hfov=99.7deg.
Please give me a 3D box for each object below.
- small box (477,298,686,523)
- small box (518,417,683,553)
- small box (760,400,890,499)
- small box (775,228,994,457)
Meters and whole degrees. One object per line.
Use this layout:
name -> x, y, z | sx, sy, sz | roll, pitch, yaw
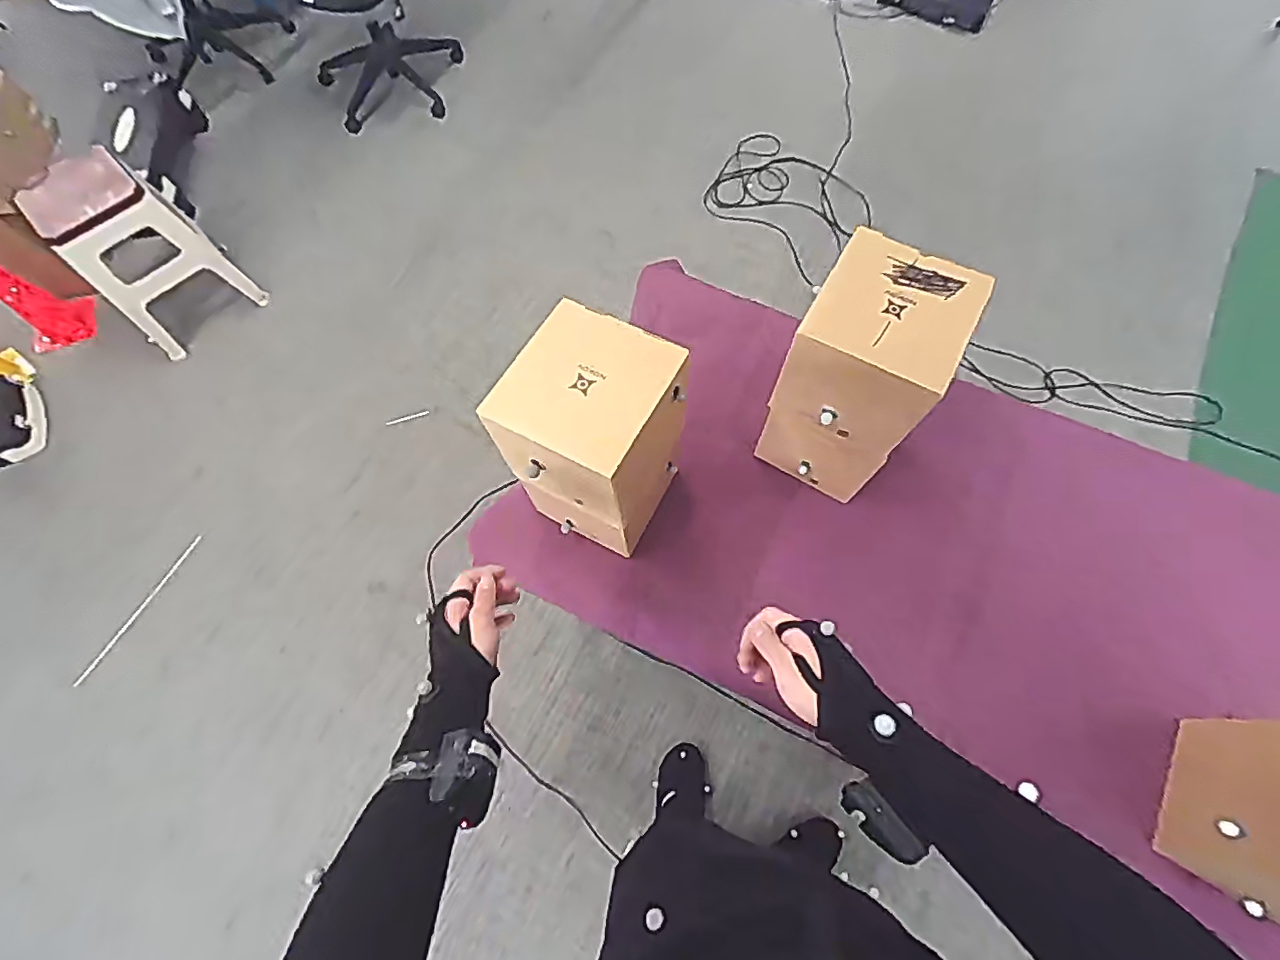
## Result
small box -> -0.056, -0.073, 0.645 | 0.168, 0.176, 0.179 | 26, 69, 13
small box -> -0.051, -0.018, 0.798 | 0.168, 0.176, 0.179 | 26, 71, 12
small box -> 0.298, -0.101, 0.818 | 0.168, 0.176, 0.179 | 31, 73, 14
small box -> 0.284, -0.161, 0.665 | 0.168, 0.176, 0.179 | 29, 73, 13
